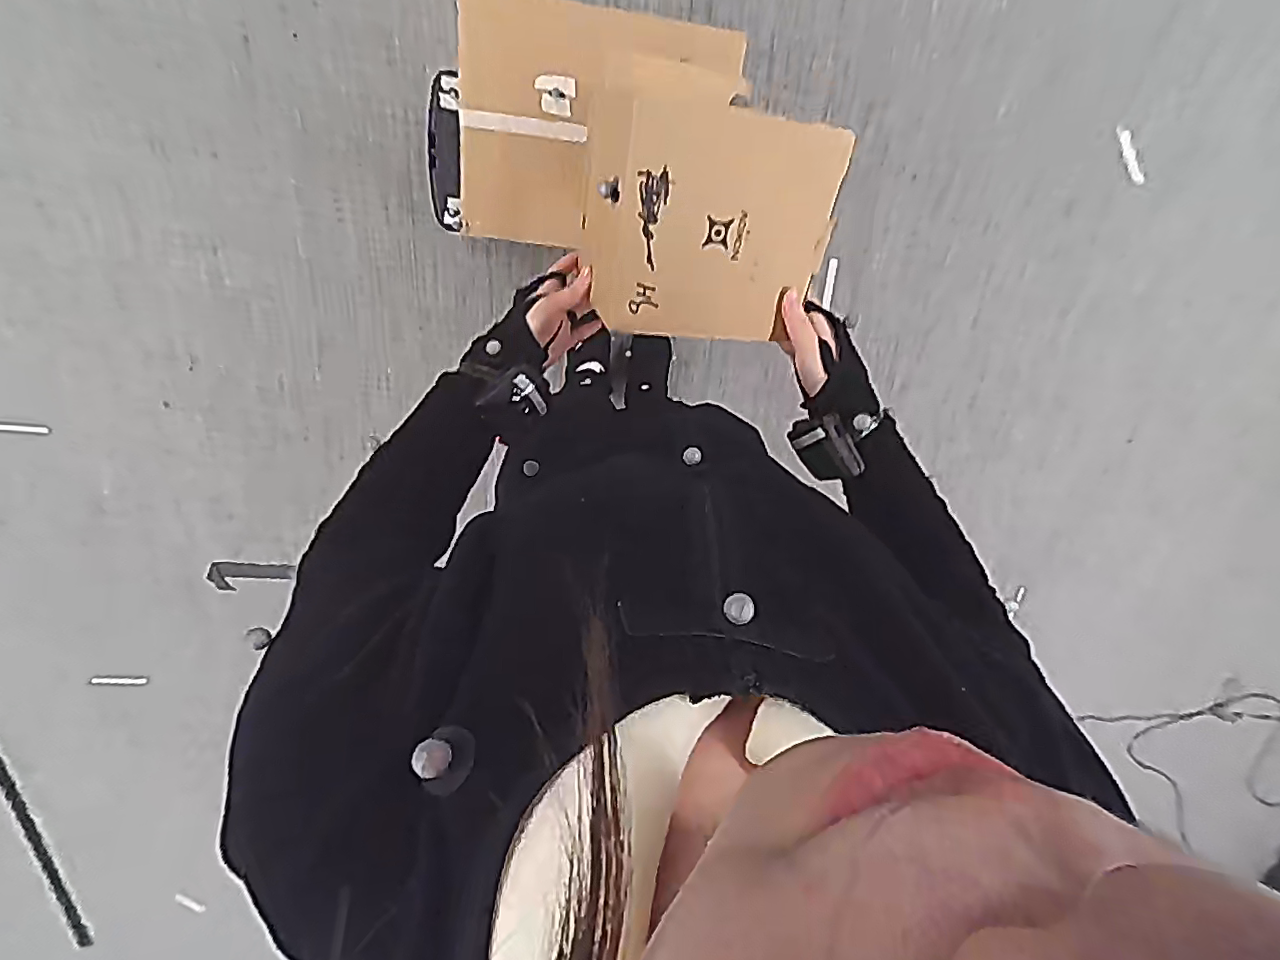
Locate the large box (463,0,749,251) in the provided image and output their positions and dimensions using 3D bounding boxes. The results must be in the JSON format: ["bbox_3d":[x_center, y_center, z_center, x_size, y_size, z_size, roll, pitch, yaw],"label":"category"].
[{"bbox_3d":[-0.063,-0.561,0.933,0.408,0.320,0.320,5,111,-6],"label":"large box"}]

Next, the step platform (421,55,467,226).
[{"bbox_3d":[-0.101,-0.639,1.156,0.684,0.204,0.286,10,111,-8],"label":"step platform"}]

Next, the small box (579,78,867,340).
[{"bbox_3d":[0.053,-0.234,0.474,0.179,0.176,0.168,-1,123,-17],"label":"small box"}]
